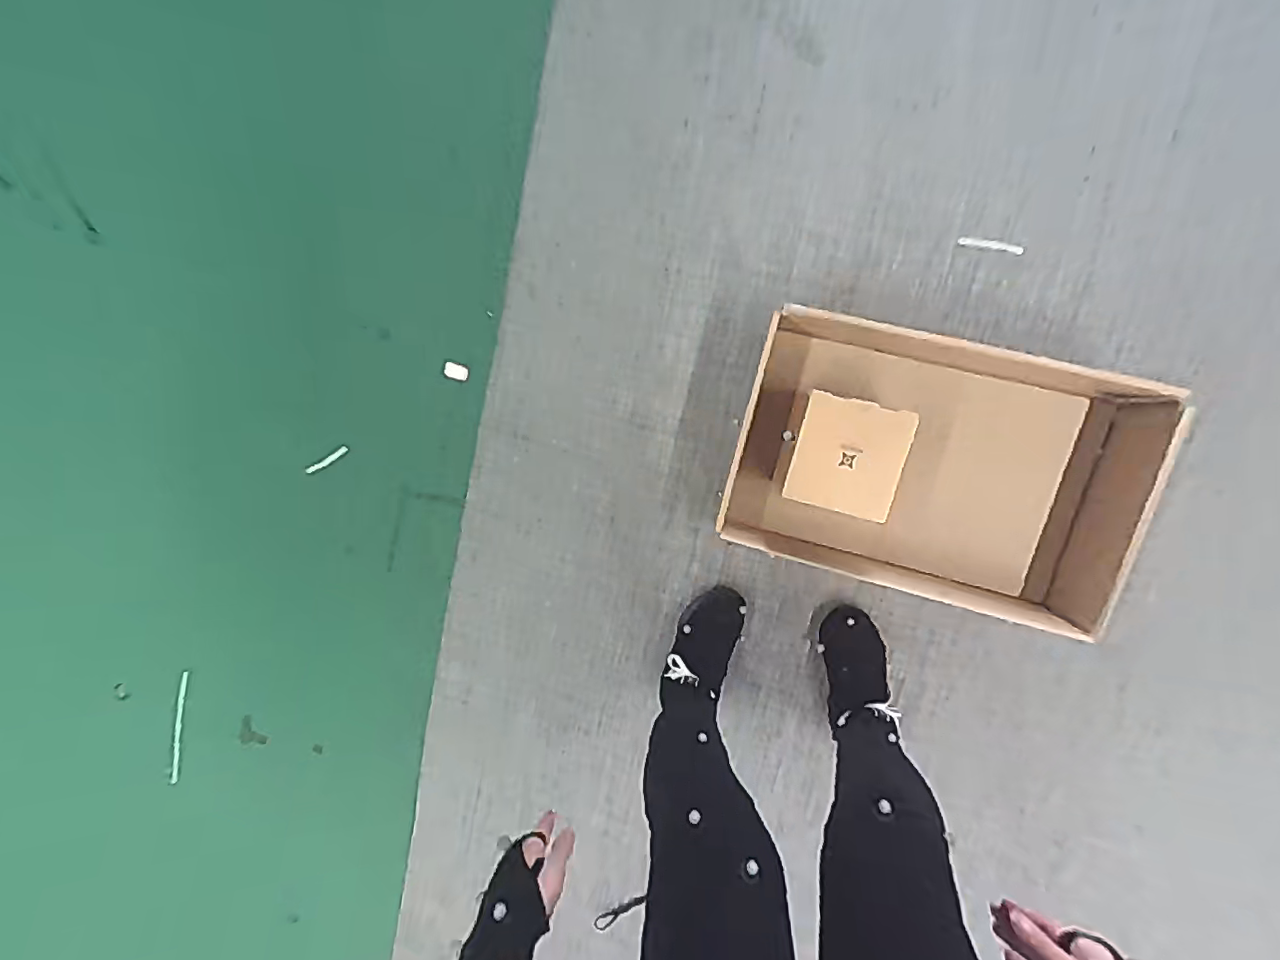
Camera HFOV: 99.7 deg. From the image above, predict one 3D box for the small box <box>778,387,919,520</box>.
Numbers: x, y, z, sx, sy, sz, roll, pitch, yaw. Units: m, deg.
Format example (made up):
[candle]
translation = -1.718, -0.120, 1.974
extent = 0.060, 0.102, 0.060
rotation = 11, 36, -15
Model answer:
[small box]
translation = 0.337, -0.049, 0.915
extent = 0.168, 0.176, 0.179
rotation = 15, 98, 7
